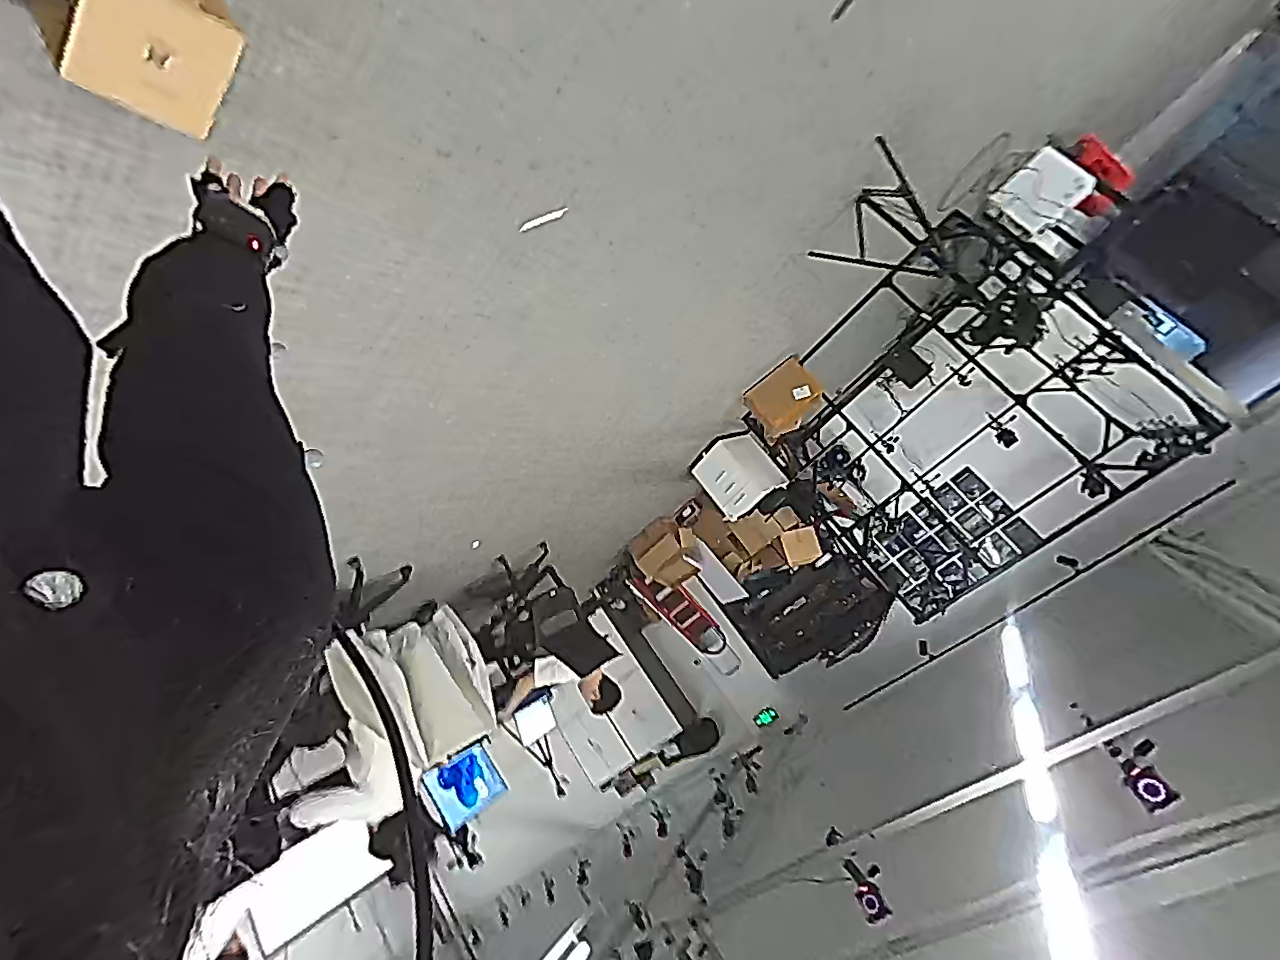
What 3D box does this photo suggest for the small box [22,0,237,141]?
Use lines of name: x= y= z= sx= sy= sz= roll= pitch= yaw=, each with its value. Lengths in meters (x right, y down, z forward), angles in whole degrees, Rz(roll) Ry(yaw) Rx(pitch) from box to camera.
small box: x=-0.723 y=-0.644 z=0.766 sx=0.179 sy=0.176 sz=0.168 roll=-44 pitch=161 yaw=21
